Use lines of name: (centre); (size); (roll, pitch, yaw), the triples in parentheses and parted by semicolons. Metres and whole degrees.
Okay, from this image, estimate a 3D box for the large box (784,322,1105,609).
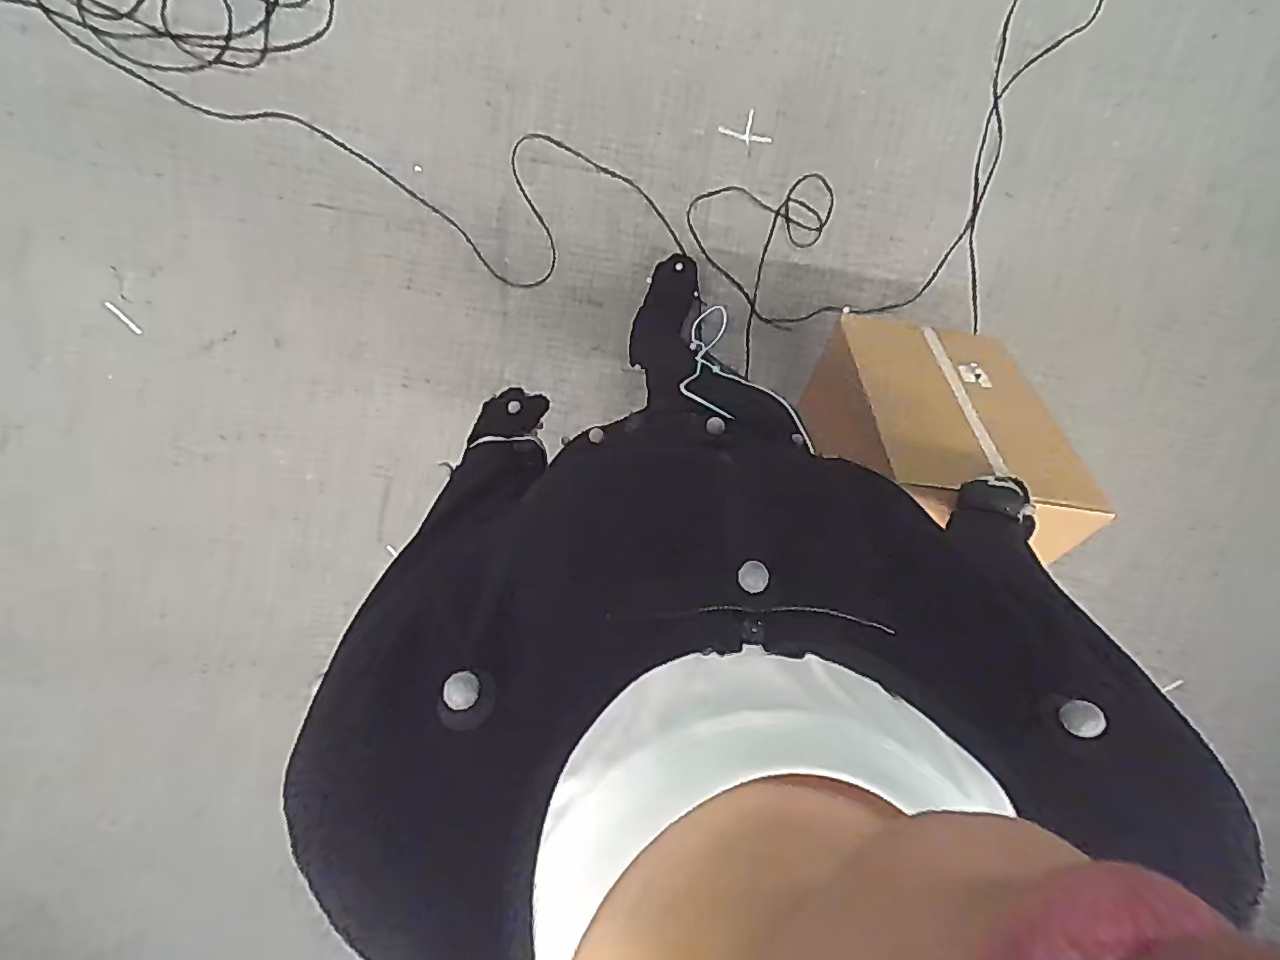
large box: (0.477, -0.025, 0.969); (0.320, 0.408, 0.320); (7, 138, -4)
